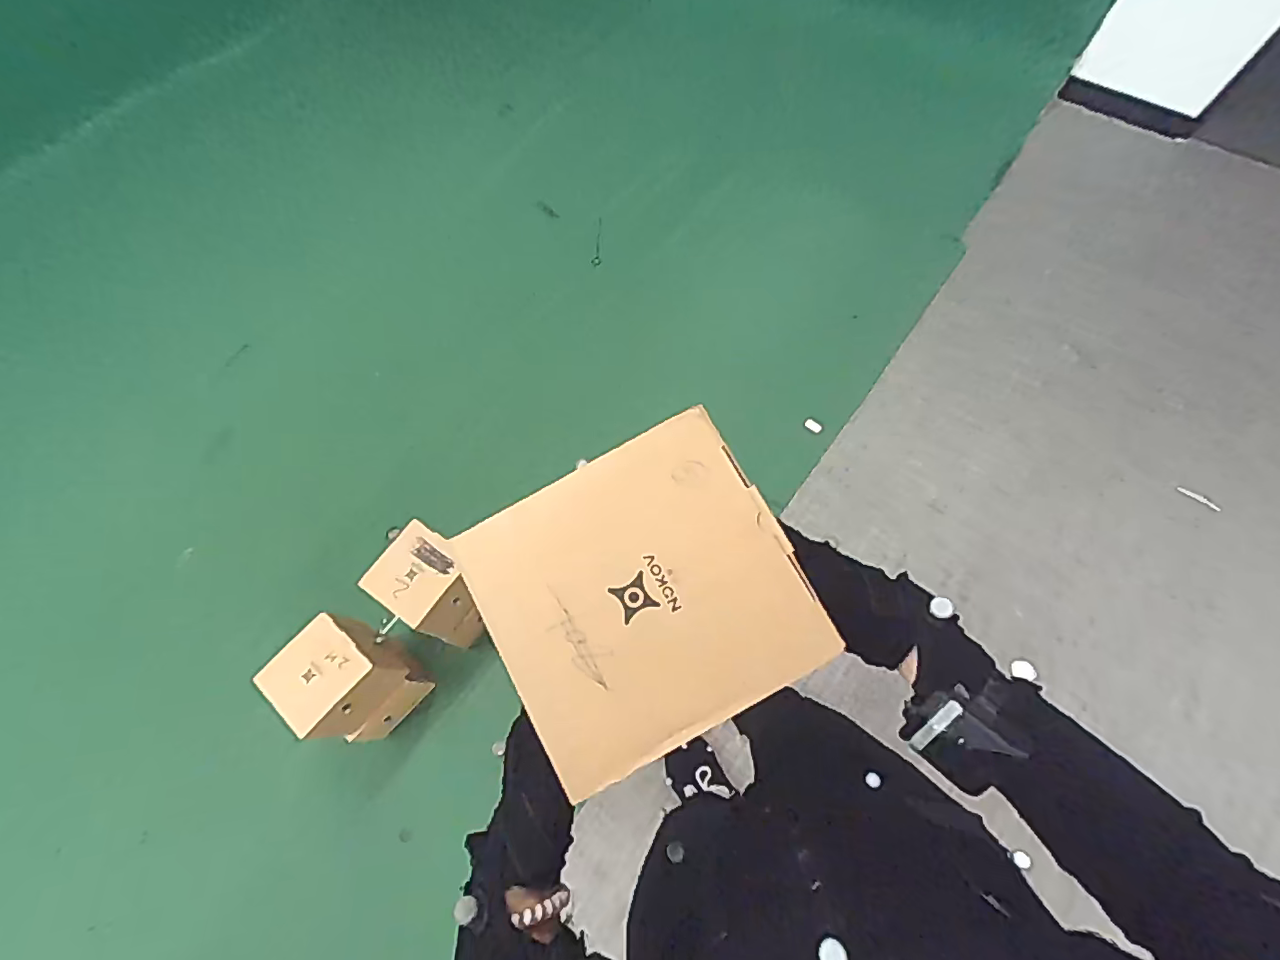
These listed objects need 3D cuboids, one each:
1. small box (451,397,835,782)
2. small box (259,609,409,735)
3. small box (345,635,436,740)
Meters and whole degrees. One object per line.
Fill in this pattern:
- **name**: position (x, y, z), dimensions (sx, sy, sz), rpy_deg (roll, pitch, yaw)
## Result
- **small box**: position (0.002, 0.070, 0.391), dimensions (0.179, 0.176, 0.168), rpy_deg (-29, 79, -2)
- **small box**: position (-0.624, 0.400, 1.125), dimensions (0.168, 0.176, 0.179), rpy_deg (39, 74, 17)
- **small box**: position (-0.616, 0.477, 1.271), dimensions (0.179, 0.176, 0.168), rpy_deg (39, 74, 17)
